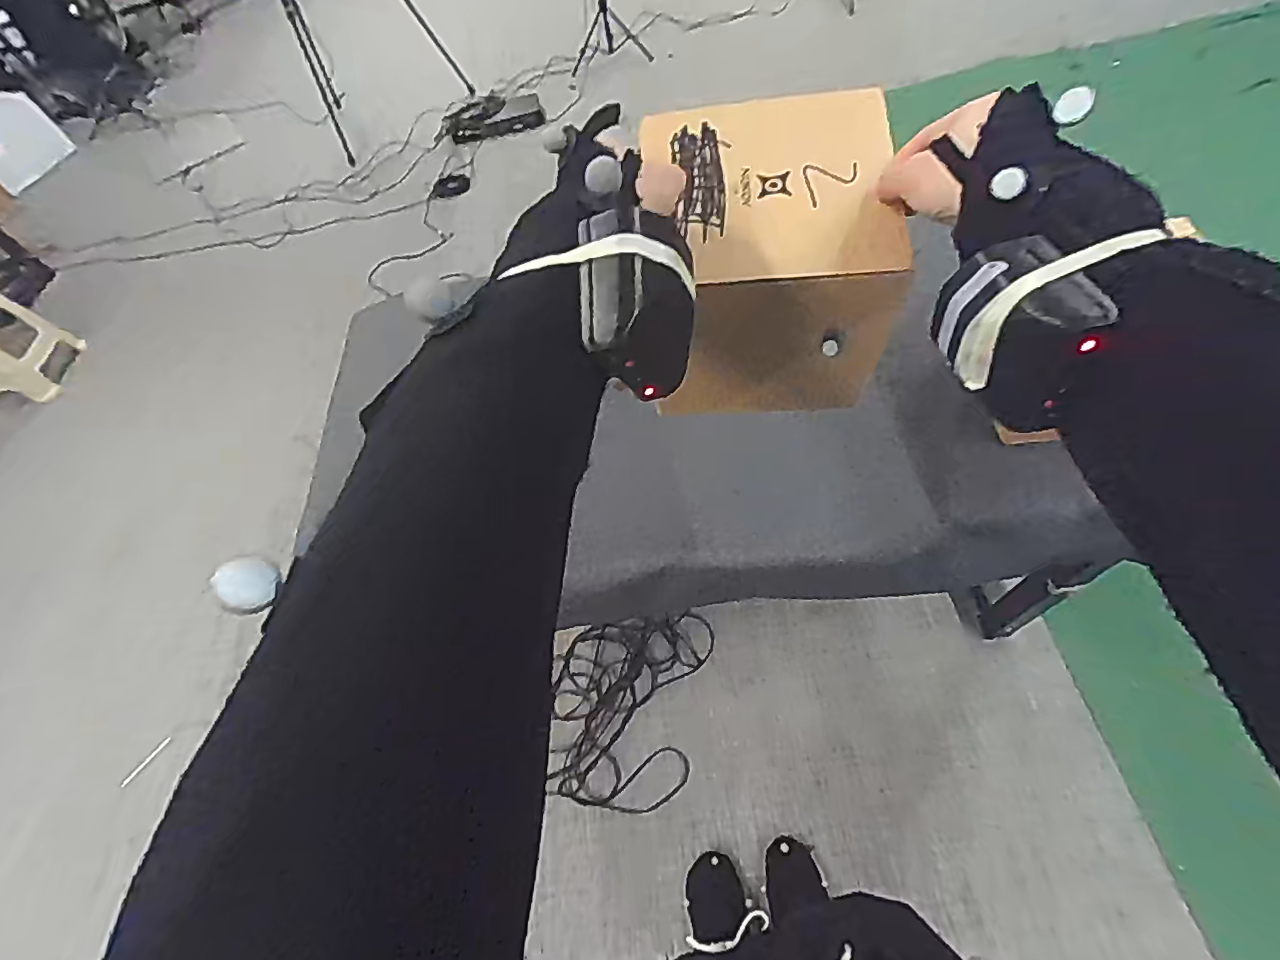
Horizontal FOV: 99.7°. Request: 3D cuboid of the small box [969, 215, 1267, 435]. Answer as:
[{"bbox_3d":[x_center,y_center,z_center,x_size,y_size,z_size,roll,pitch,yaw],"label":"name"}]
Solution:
[{"bbox_3d":[0.506,-0.165,0.617,0.179,0.176,0.168,-5,60,7],"label":"small box"}]
